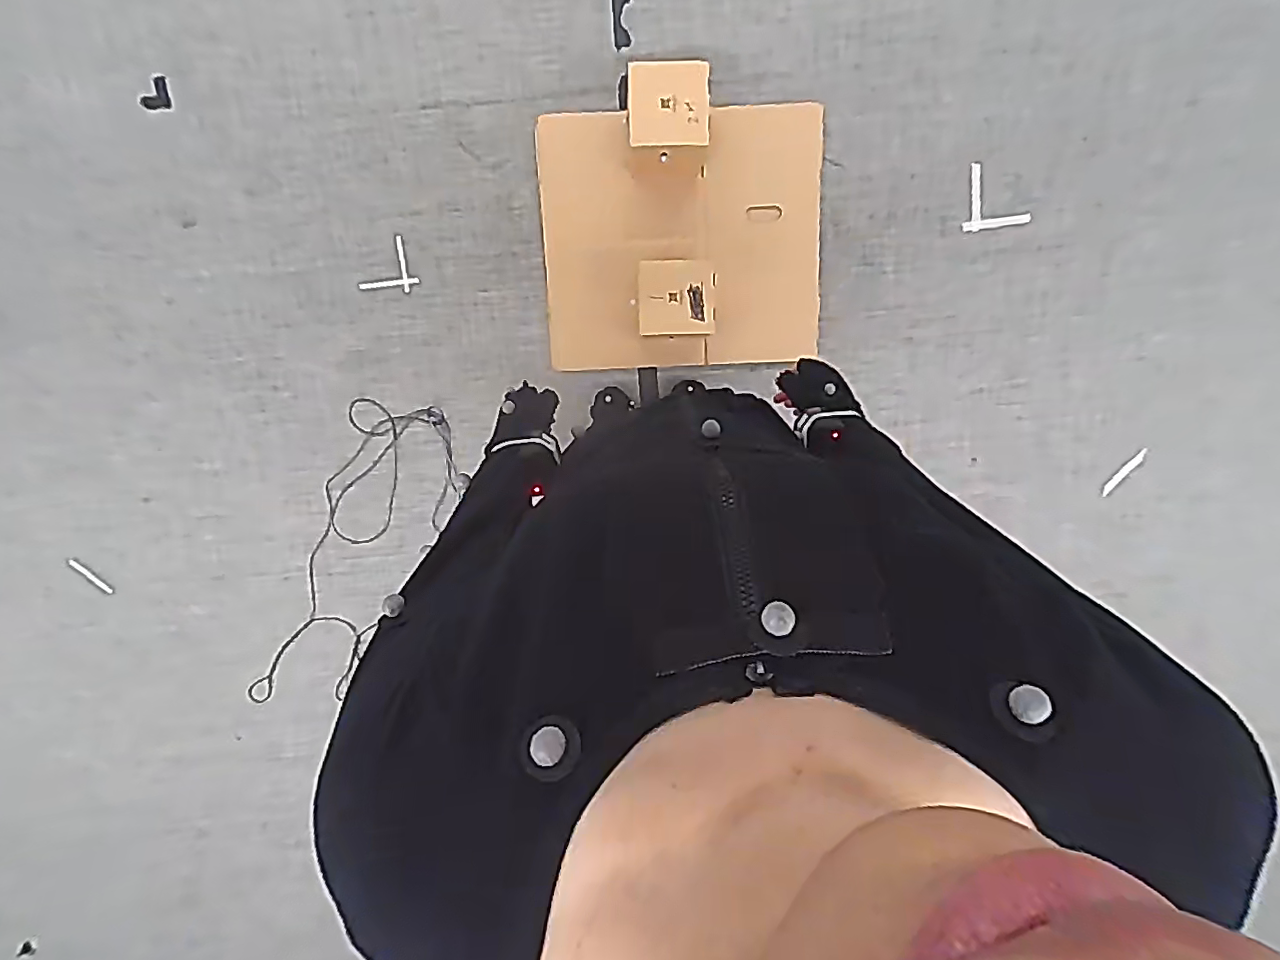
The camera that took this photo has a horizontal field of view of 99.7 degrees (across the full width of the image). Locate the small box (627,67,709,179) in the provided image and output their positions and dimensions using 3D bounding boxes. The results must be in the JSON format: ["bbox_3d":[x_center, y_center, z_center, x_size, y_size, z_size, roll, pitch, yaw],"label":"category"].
[{"bbox_3d":[0.059,-0.811,1.243,0.179,0.176,0.168,-1,100,-2],"label":"small box"}]

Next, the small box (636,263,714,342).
[{"bbox_3d":[0.080,-0.427,1.317,0.179,0.176,0.168,-1,101,-1],"label":"small box"}]
